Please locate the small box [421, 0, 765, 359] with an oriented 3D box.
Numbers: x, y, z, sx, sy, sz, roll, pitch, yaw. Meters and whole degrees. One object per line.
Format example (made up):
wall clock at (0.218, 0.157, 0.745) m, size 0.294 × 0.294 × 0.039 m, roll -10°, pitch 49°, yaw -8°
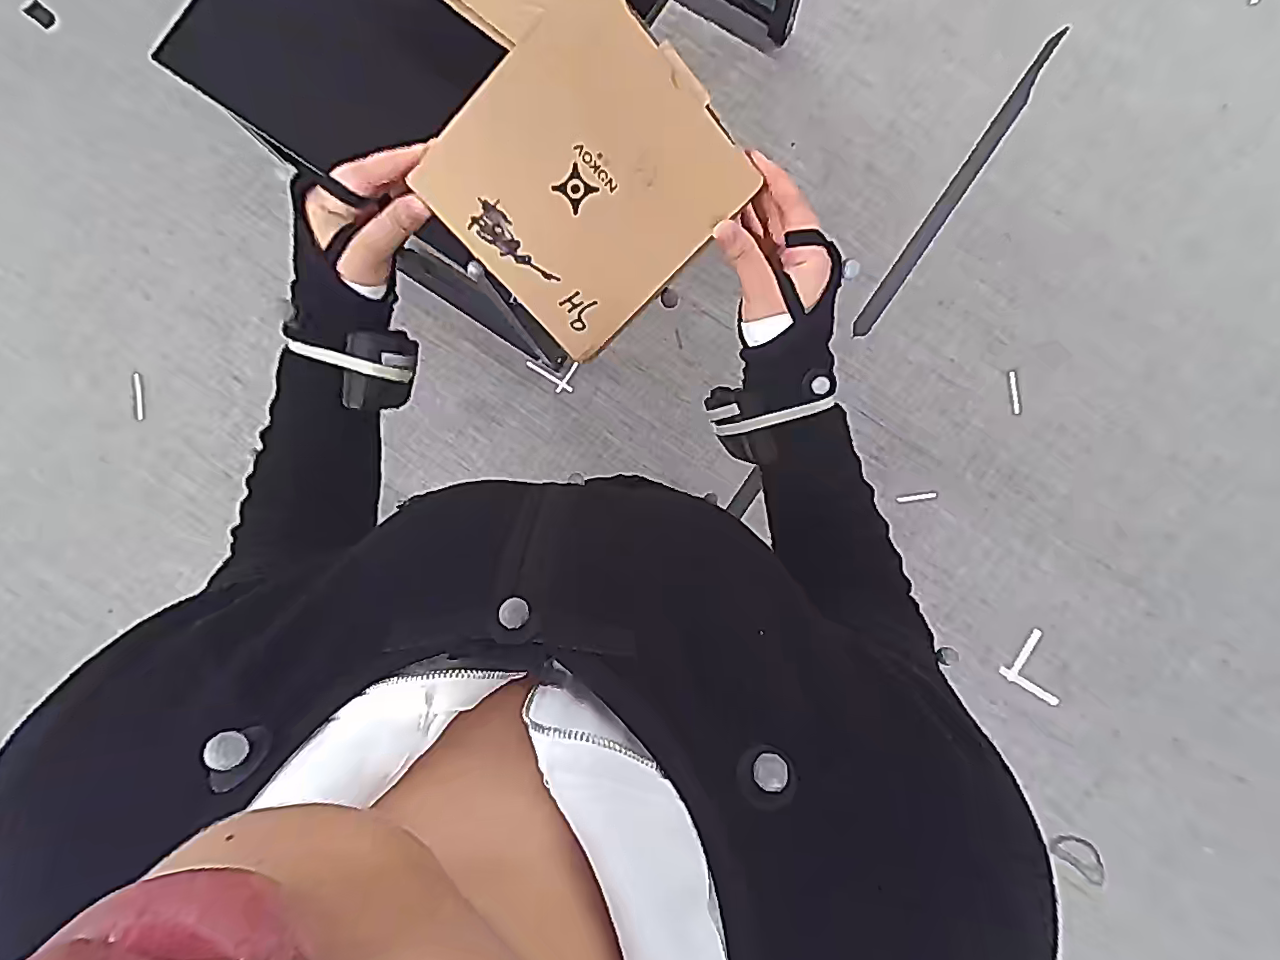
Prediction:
small box at (-0.033, -0.220, 0.439) m, size 0.179 × 0.176 × 0.168 m, roll -43°, pitch 100°, yaw 9°
